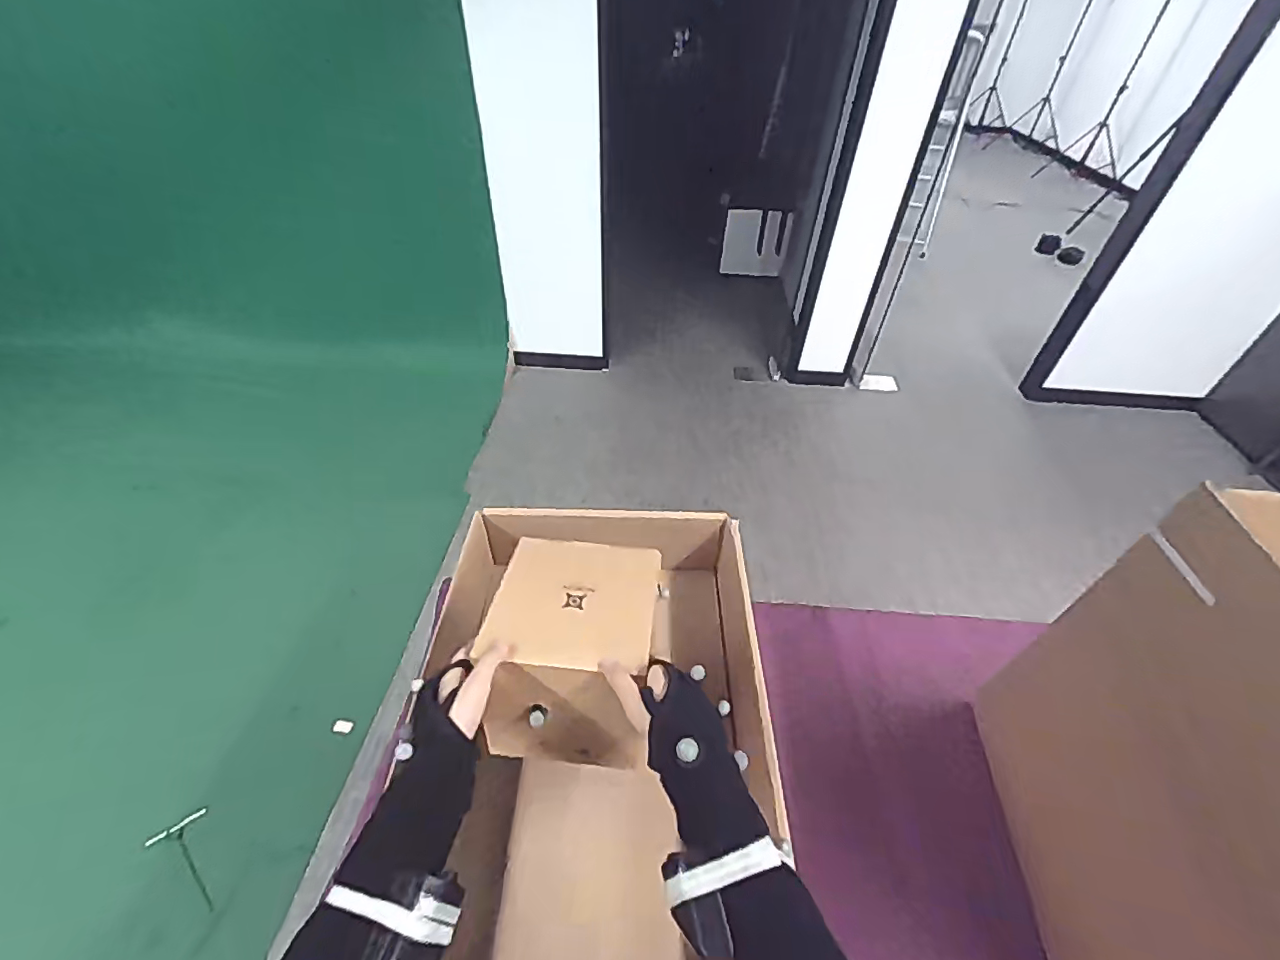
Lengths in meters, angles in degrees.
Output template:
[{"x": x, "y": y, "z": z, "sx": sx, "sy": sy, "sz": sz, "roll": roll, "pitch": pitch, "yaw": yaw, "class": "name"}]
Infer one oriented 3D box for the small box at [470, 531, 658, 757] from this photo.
[{"x": -0.069, "y": 0.180, "z": 0.602, "sx": 0.168, "sy": 0.176, "sz": 0.179, "roll": 4, "pitch": 36, "yaw": 3, "class": "small box"}]
